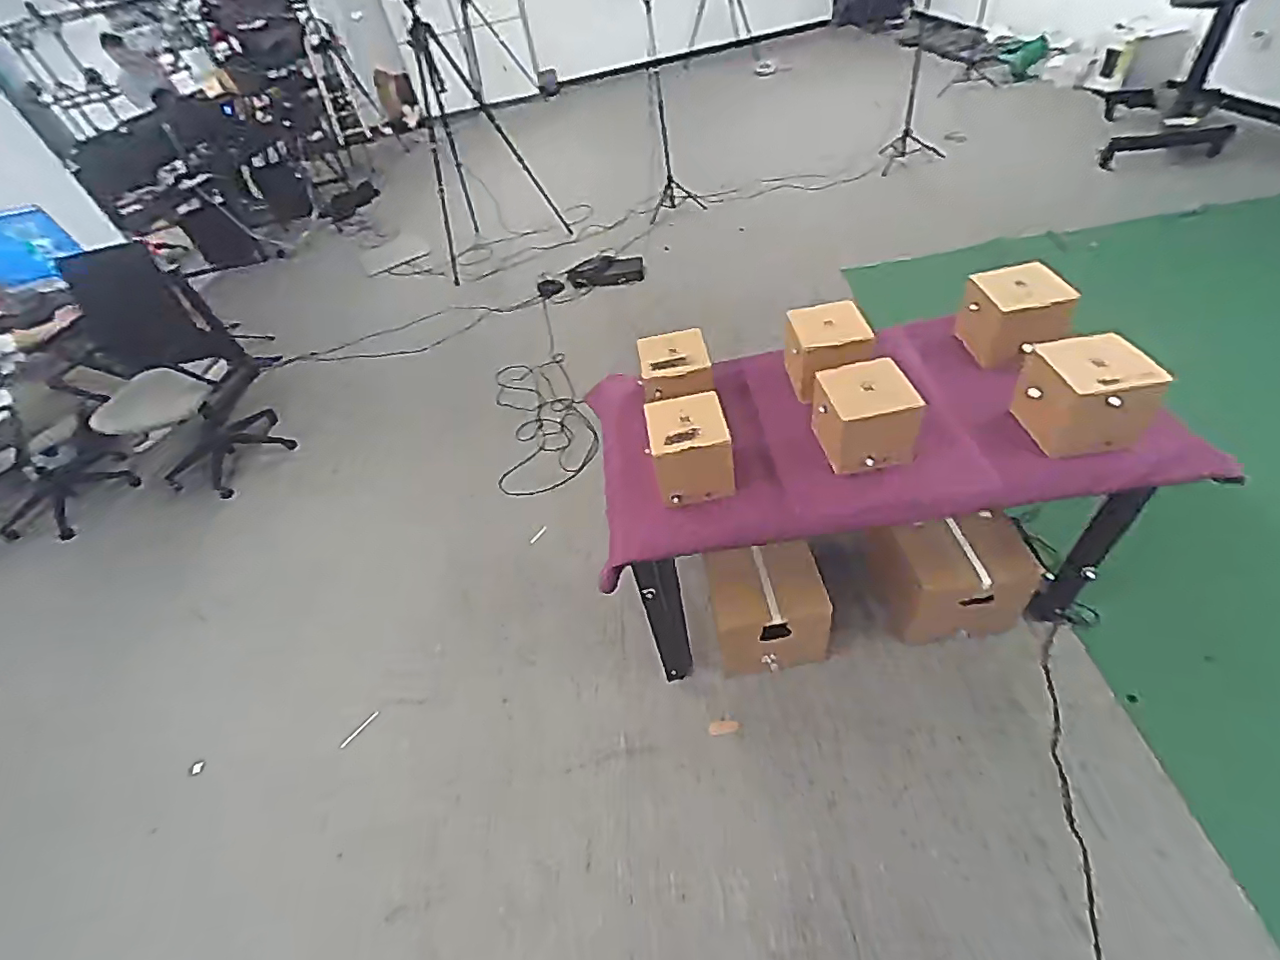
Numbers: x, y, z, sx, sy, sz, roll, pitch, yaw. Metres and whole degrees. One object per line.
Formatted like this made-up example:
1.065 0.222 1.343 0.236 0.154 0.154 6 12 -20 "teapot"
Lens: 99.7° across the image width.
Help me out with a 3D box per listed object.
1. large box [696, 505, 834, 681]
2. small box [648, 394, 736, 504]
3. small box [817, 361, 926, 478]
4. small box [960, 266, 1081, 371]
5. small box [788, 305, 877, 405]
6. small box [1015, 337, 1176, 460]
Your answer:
0.377 0.350 1.682 0.320 0.320 0.408 -11 44 3 "large box"
0.117 -0.062 1.209 0.168 0.176 0.179 -10 44 3 "small box"
0.493 -0.131 1.184 0.168 0.176 0.179 -11 45 5 "small box"
0.916 -0.393 1.326 0.168 0.176 0.179 -10 46 8 "small box"
0.477 -0.315 1.368 0.168 0.176 0.179 -9 46 5 "small box"
0.912 -0.166 1.108 0.168 0.176 0.179 -9 43 8 "small box"
